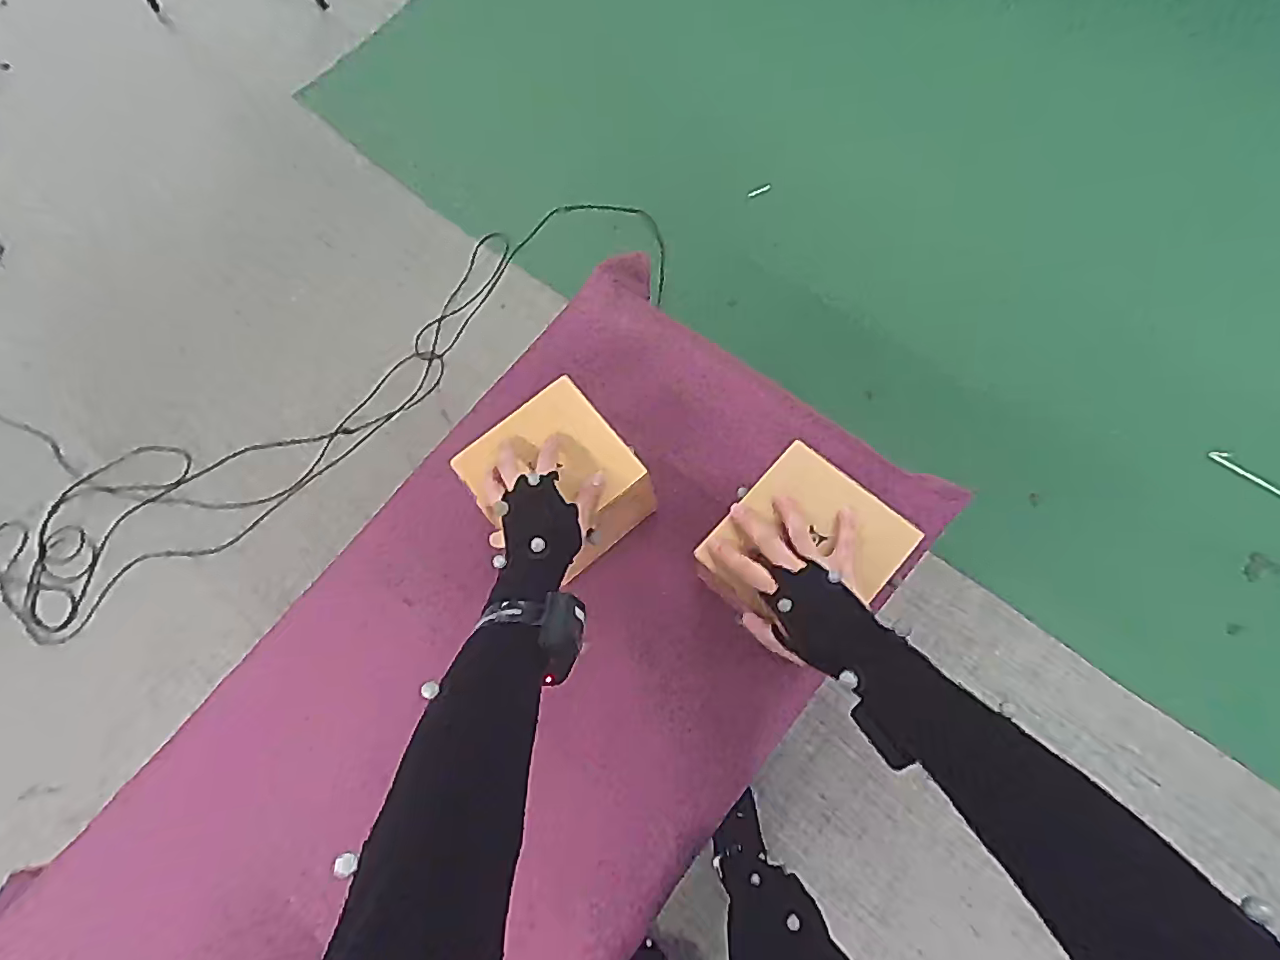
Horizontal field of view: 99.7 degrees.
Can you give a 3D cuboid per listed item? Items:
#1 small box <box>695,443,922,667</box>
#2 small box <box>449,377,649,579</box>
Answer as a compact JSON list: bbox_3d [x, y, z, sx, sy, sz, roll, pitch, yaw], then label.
[{"bbox_3d":[0.180,0.092,0.632,0.168,0.176,0.179,42,83,17],"label":"small box"},{"bbox_3d":[-0.101,0.007,0.694,0.179,0.176,0.168,-39,74,-5],"label":"small box"}]
